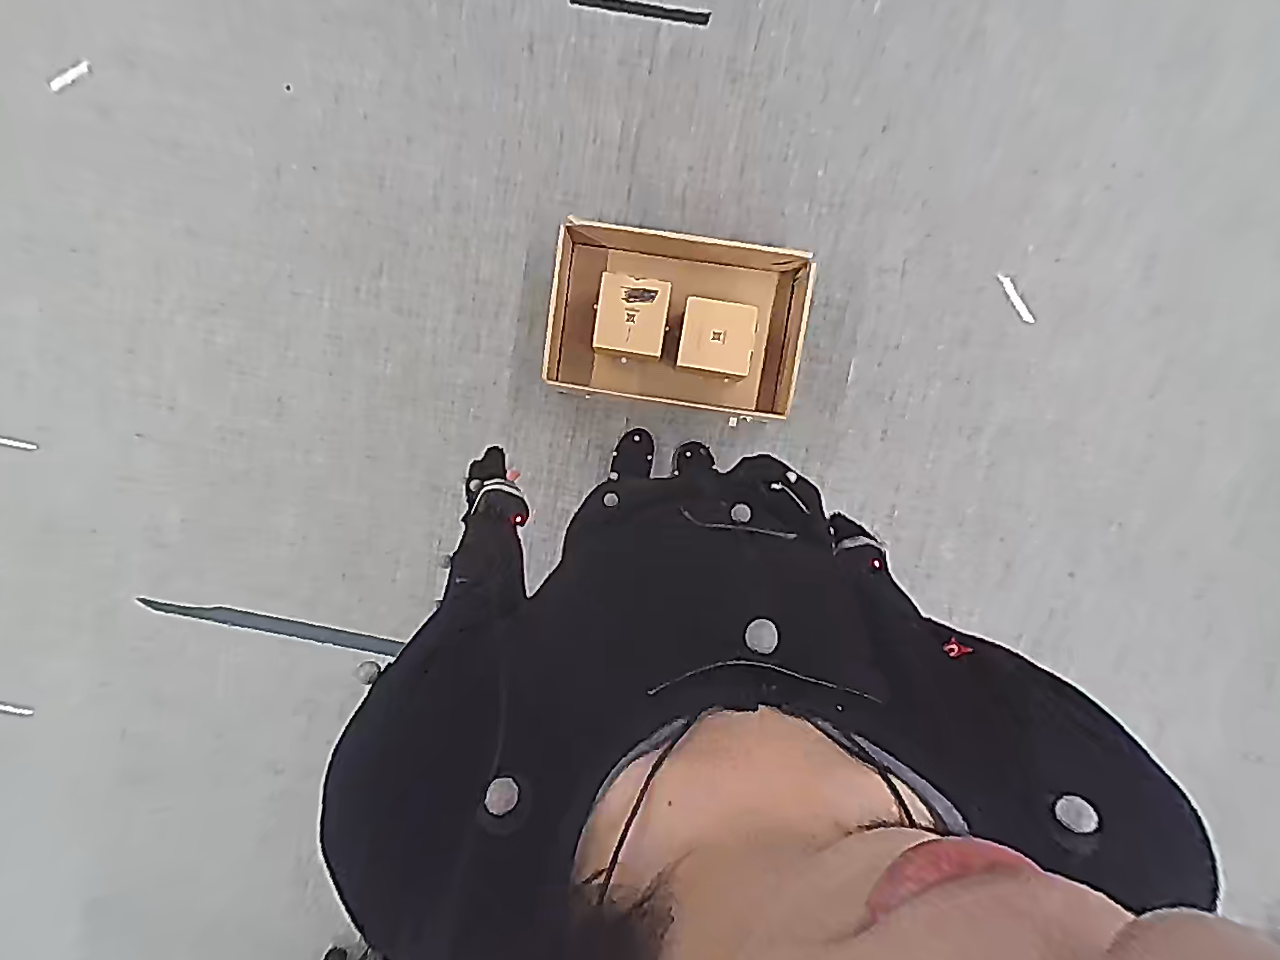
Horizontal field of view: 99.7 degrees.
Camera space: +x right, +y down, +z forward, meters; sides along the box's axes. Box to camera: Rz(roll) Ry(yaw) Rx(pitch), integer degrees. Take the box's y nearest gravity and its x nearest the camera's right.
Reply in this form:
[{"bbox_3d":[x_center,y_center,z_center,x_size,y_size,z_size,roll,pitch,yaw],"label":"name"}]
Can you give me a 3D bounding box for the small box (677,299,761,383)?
[{"bbox_3d":[0.192,-0.342,1.361,0.179,0.176,0.168,8,95,2],"label":"small box"}]
